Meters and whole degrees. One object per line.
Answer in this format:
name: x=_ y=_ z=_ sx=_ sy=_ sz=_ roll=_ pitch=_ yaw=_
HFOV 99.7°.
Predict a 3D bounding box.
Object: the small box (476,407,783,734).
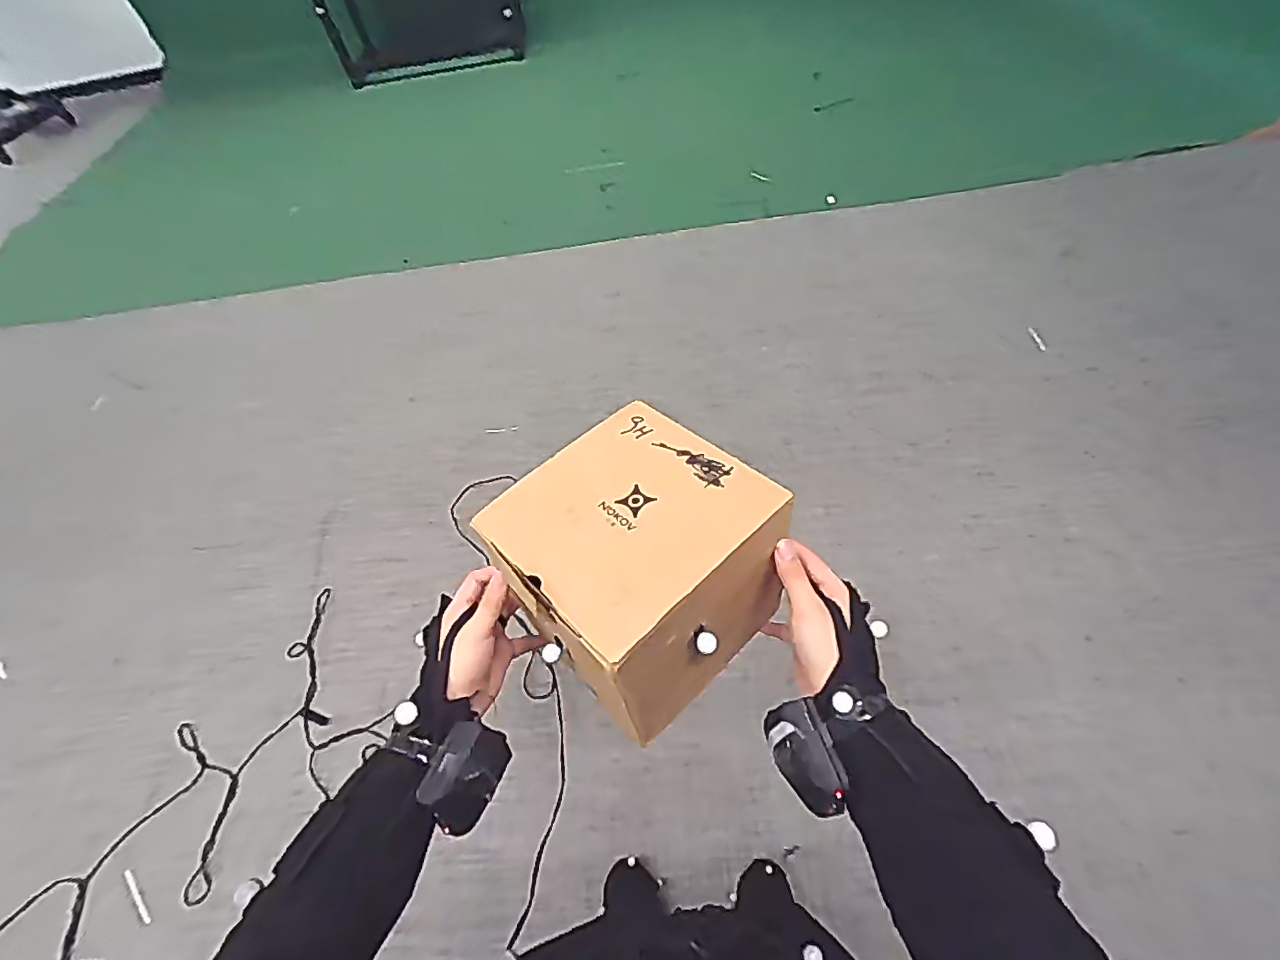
small box: x=0.001 y=0.077 z=0.457 sx=0.179 sy=0.176 sz=0.168 roll=-39 pitch=54 yaw=-22
